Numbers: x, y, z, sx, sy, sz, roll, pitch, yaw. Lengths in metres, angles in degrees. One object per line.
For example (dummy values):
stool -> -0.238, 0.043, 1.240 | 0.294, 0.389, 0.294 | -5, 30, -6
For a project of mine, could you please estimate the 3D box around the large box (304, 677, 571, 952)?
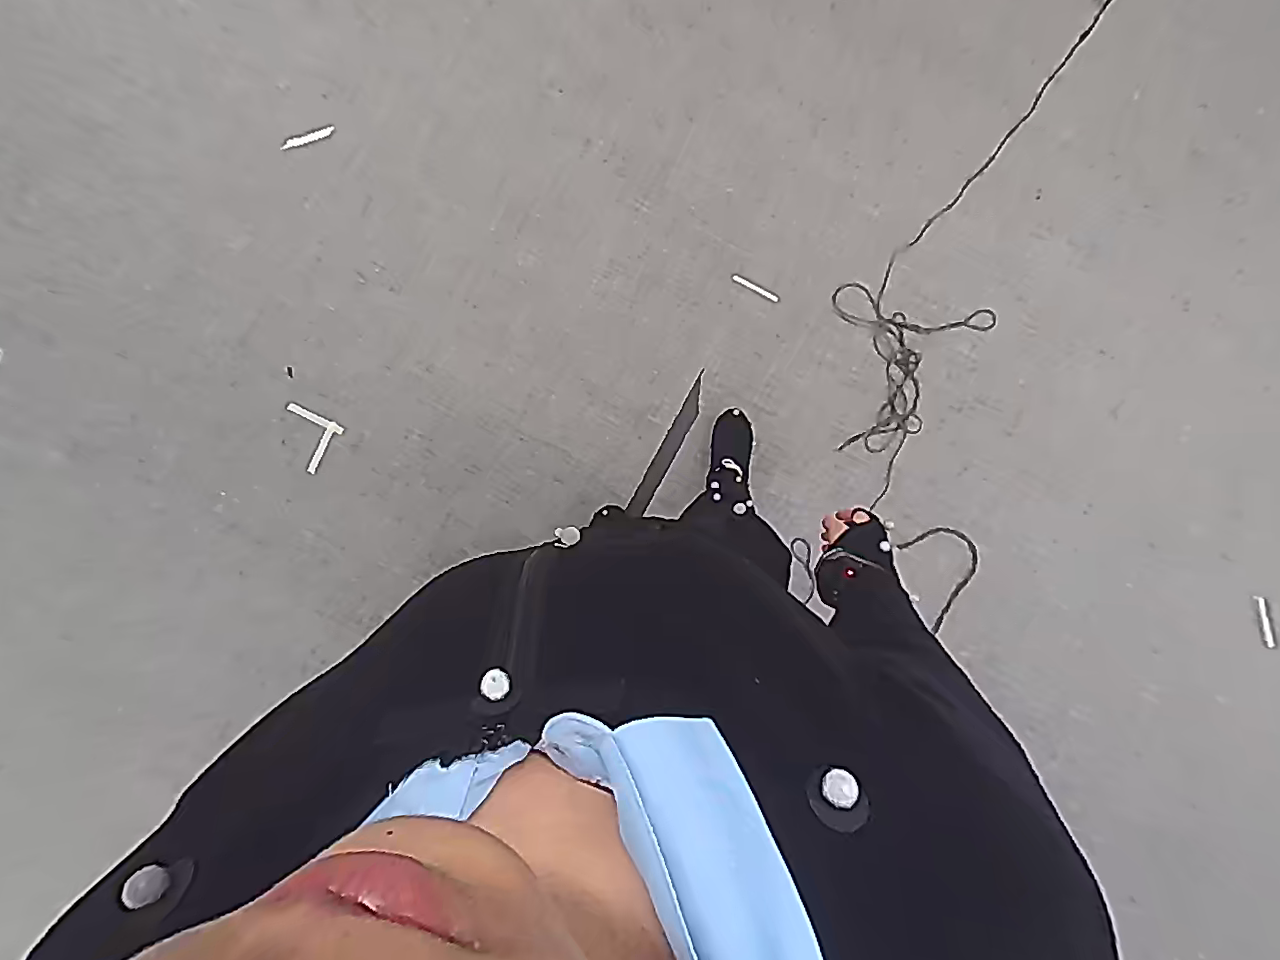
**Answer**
large box -> -0.407, 0.694, 1.186 | 0.408, 0.320, 0.320 | 22, 89, 3
